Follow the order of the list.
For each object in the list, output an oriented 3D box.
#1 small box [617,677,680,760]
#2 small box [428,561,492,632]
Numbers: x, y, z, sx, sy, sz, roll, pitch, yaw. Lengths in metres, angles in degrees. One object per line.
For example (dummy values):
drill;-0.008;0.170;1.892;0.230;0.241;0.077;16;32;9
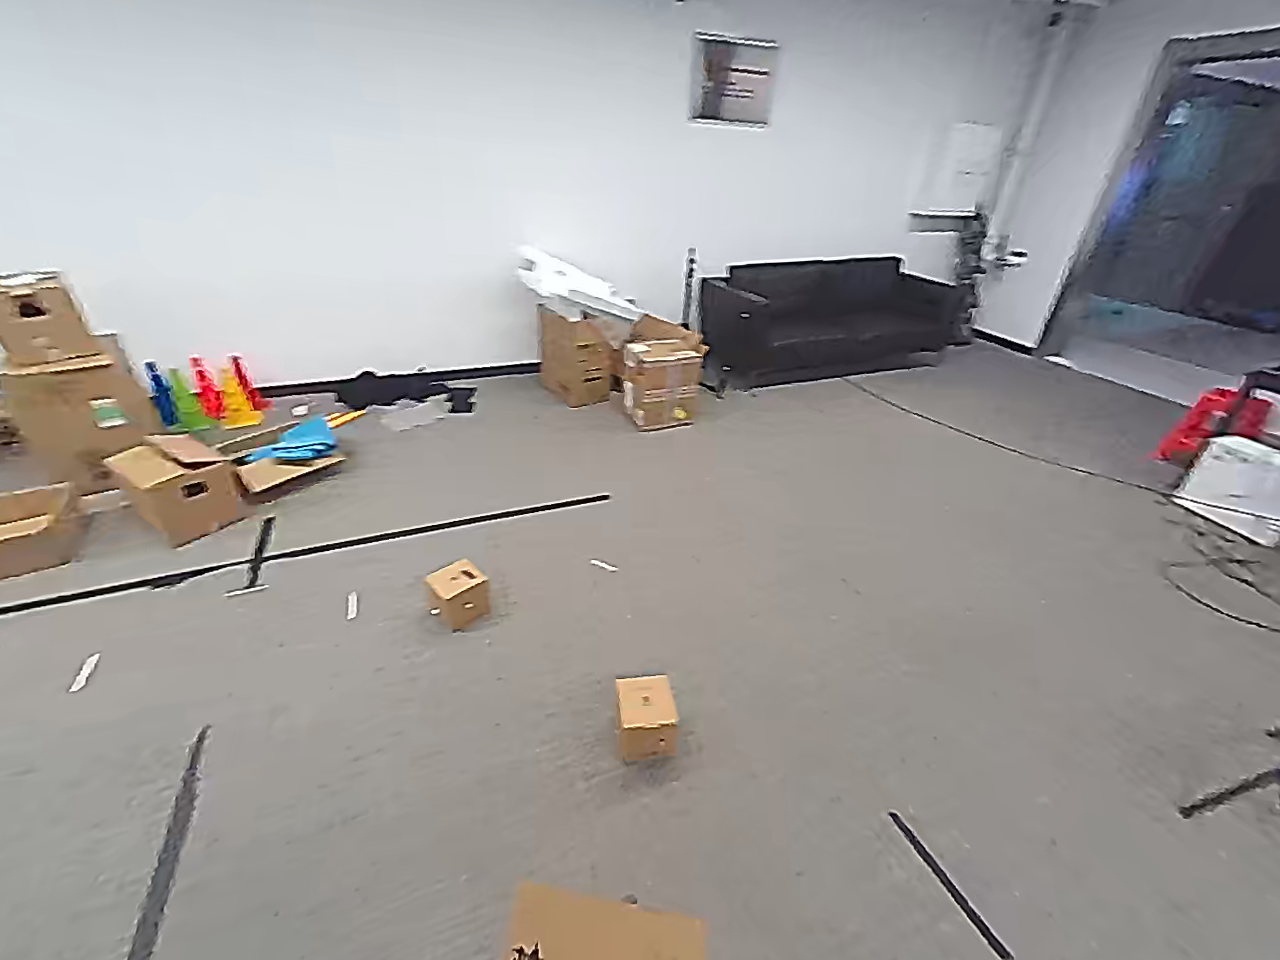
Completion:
small box;0.022;0.740;1.671;0.168;0.176;0.179;-1;30;-11
small box;-0.688;0.448;2.085;0.168;0.176;0.179;29;40;36
